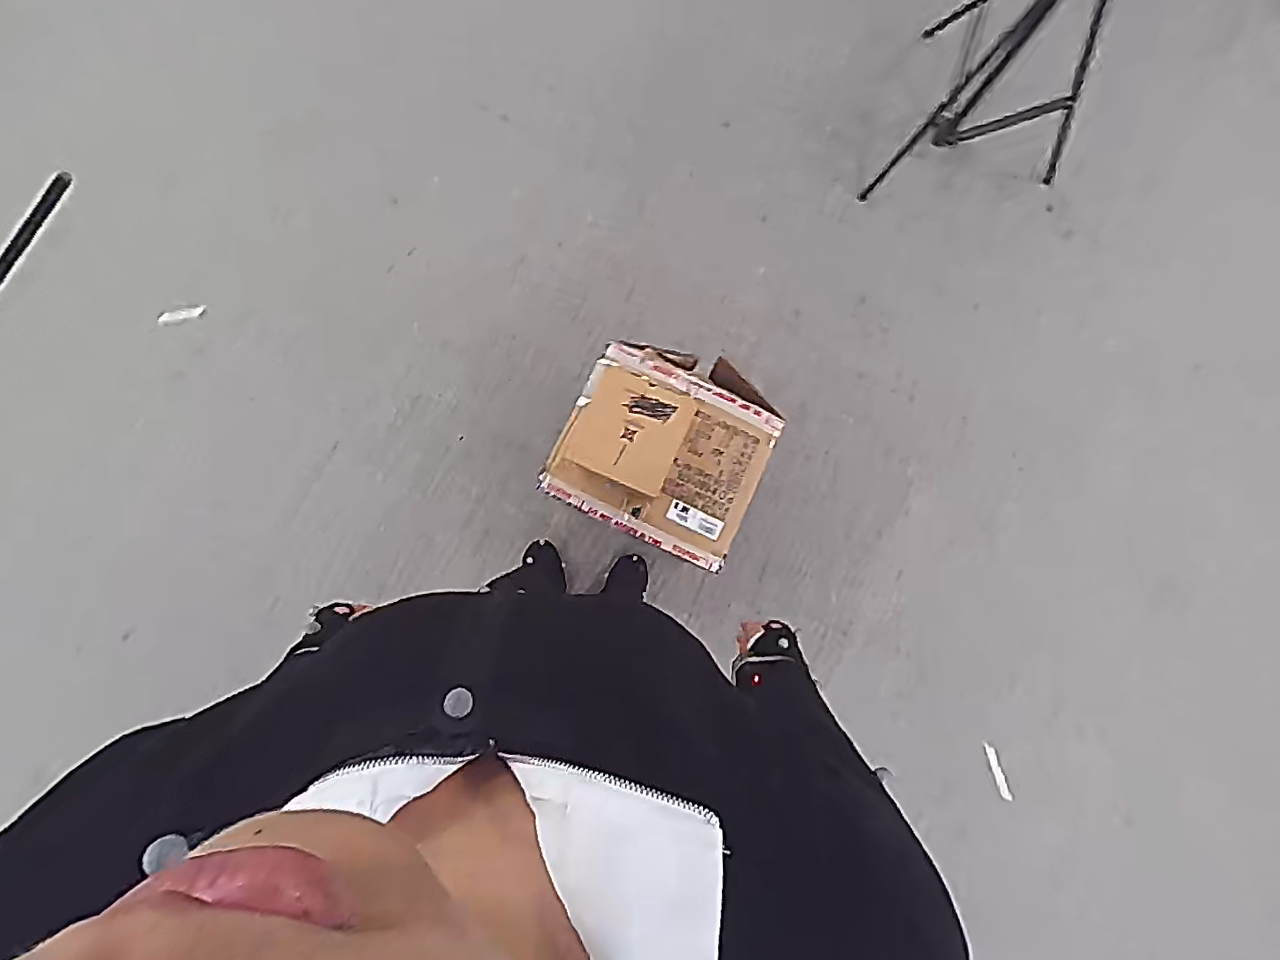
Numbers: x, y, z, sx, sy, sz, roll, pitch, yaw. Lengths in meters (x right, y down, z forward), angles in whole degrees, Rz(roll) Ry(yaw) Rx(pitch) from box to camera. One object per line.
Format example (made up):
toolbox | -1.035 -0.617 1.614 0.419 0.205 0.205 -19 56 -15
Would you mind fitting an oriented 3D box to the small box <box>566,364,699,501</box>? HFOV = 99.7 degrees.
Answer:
small box | -0.013 -0.074 0.955 0.168 0.176 0.179 25 87 2
